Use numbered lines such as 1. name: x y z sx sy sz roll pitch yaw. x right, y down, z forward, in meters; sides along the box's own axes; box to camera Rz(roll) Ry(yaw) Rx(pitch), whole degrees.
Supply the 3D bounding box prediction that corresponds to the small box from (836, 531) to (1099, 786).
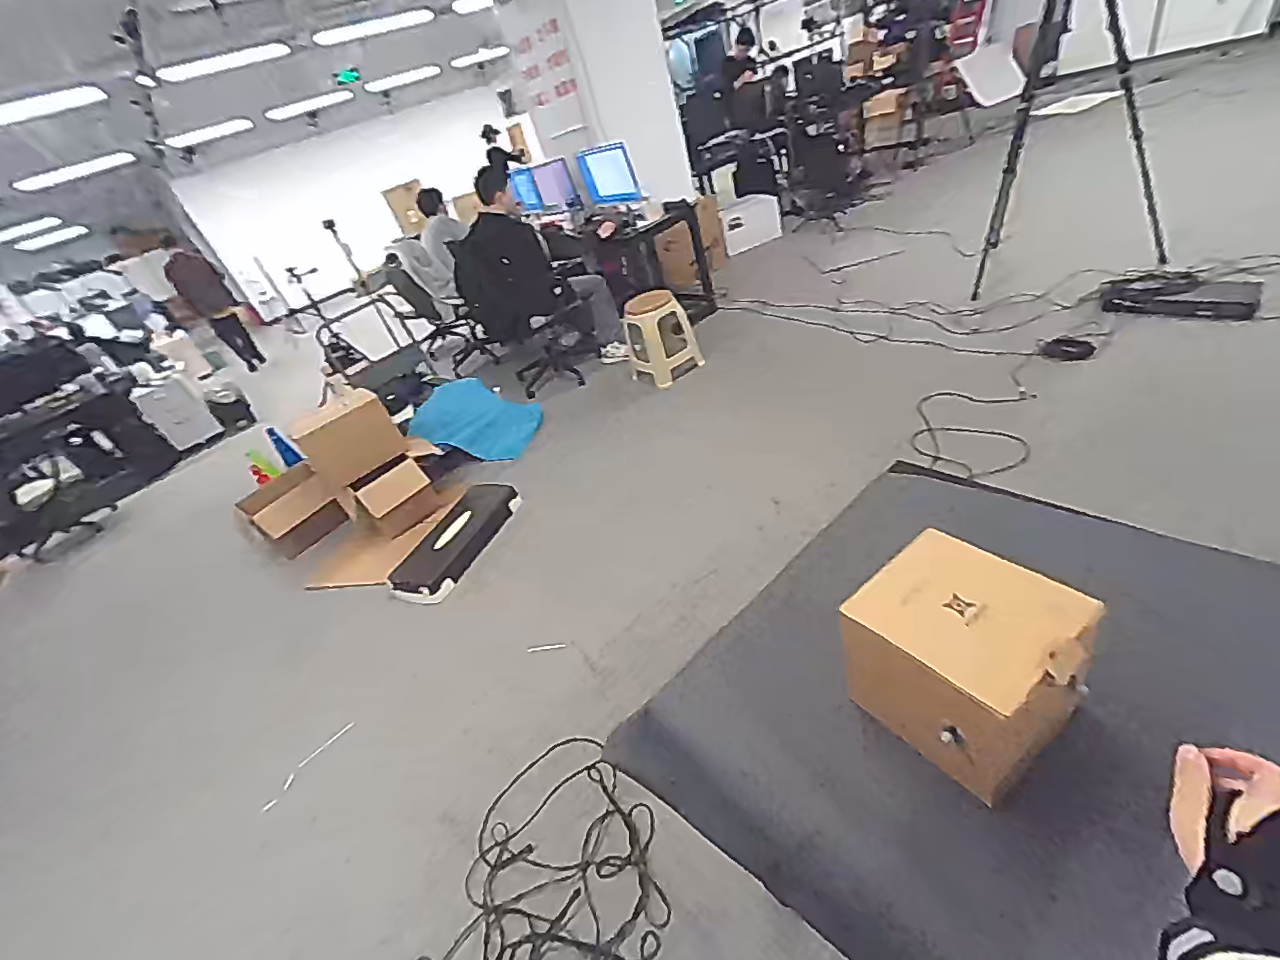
1. small box: 0.342 0.192 0.586 0.168 0.176 0.179 -33 35 -21
